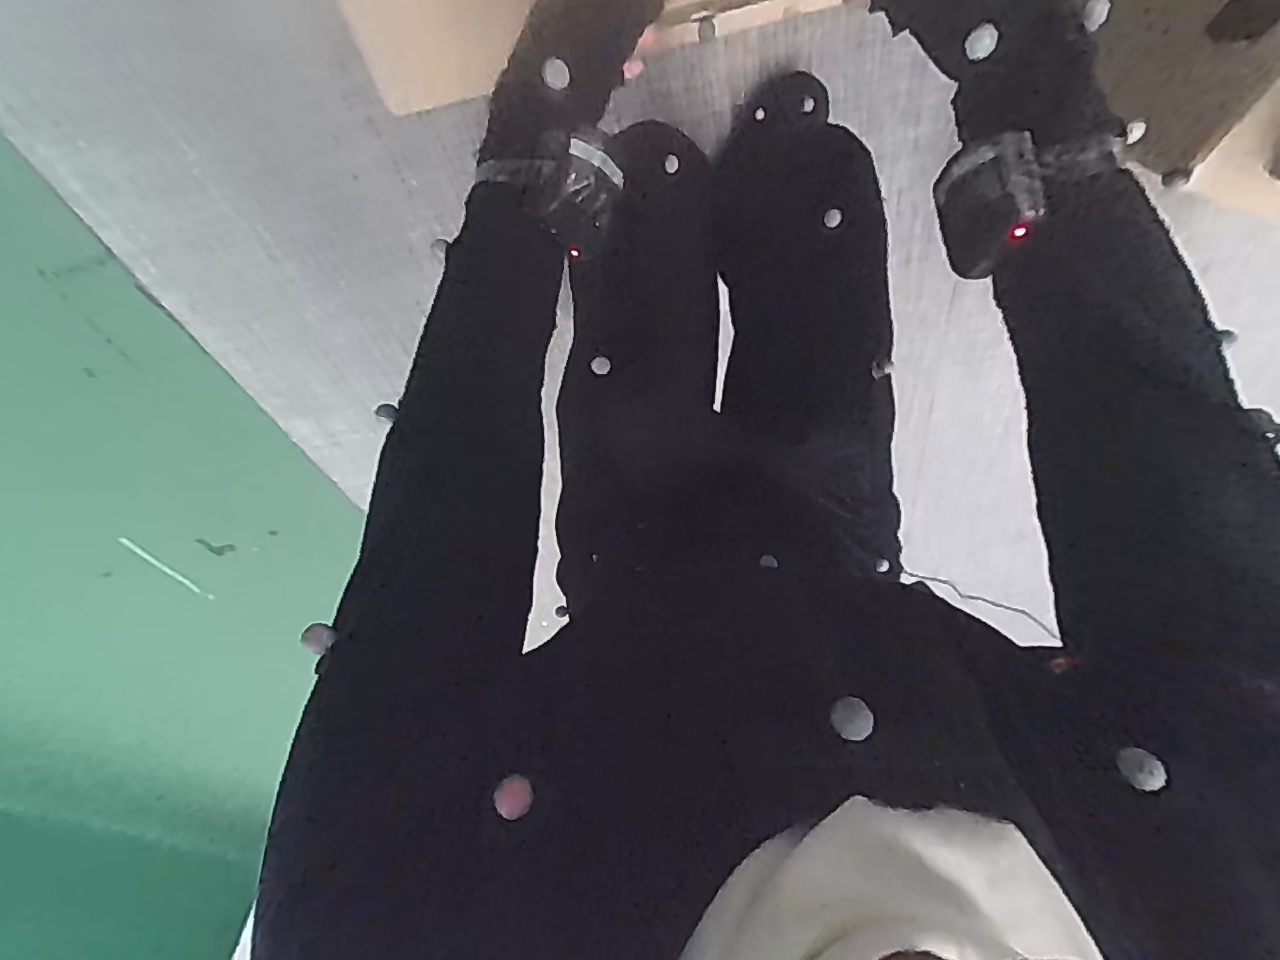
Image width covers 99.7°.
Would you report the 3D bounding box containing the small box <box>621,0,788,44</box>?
[{"bbox_3d":[0.052,-0.453,0.393,0.168,0.176,0.179,-12,125,8],"label":"small box"}]
